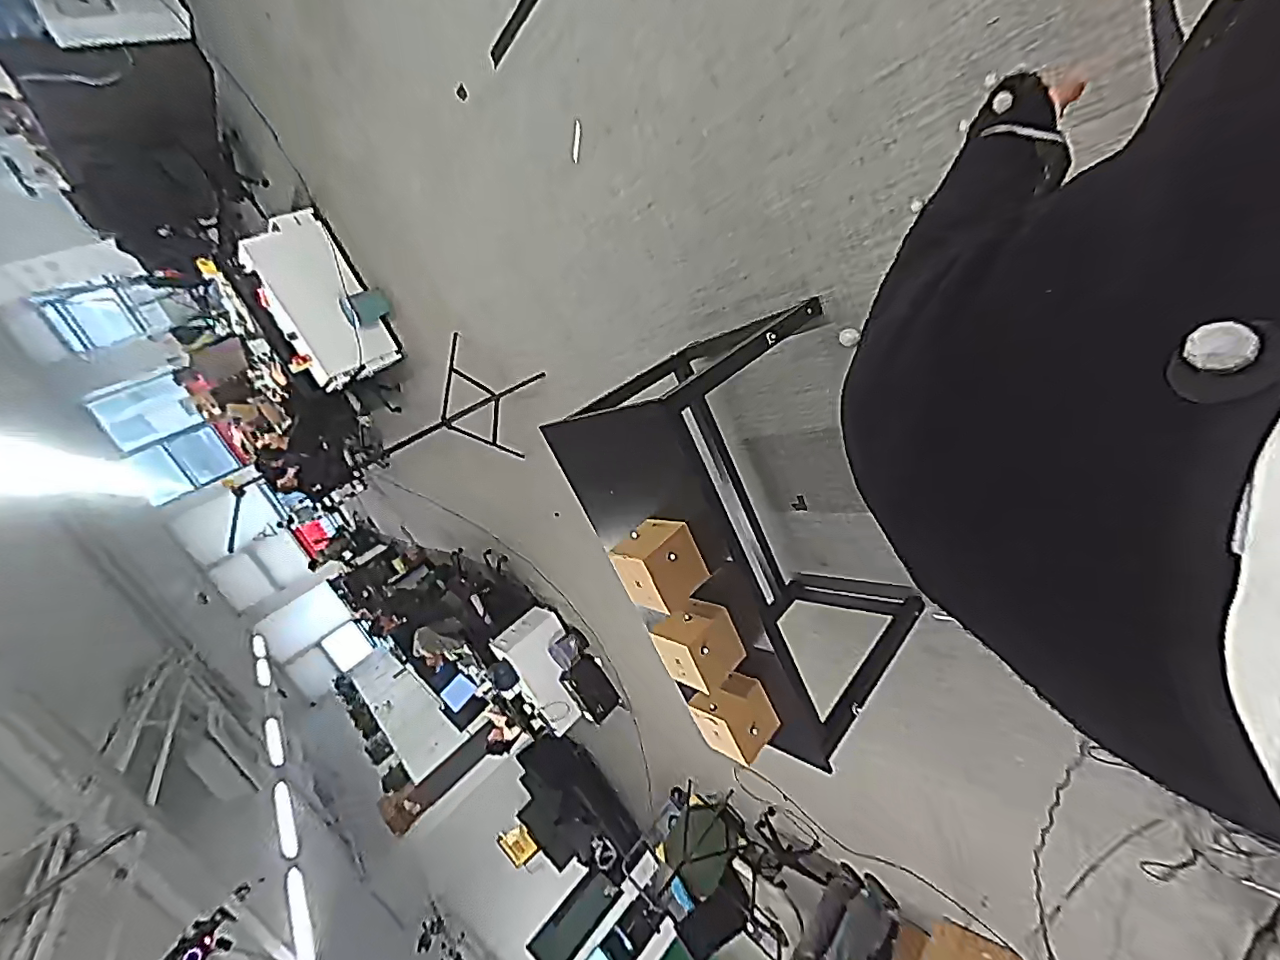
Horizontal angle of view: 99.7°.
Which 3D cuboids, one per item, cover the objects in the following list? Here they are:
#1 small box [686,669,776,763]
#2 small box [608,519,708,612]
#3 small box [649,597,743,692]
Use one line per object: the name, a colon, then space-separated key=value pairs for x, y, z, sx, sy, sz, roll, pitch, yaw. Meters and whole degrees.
small box: x=0.277 y=0.691 z=1.611 sx=0.168 sy=0.176 sz=0.179 roll=-5 pitch=117 yaw=54
small box: x=0.051 y=0.220 z=1.448 sx=0.168 sy=0.176 sz=0.179 roll=0 pitch=122 yaw=54
small box: x=0.161 y=0.456 z=1.531 sx=0.168 sy=0.176 sz=0.179 roll=1 pitch=122 yaw=53
